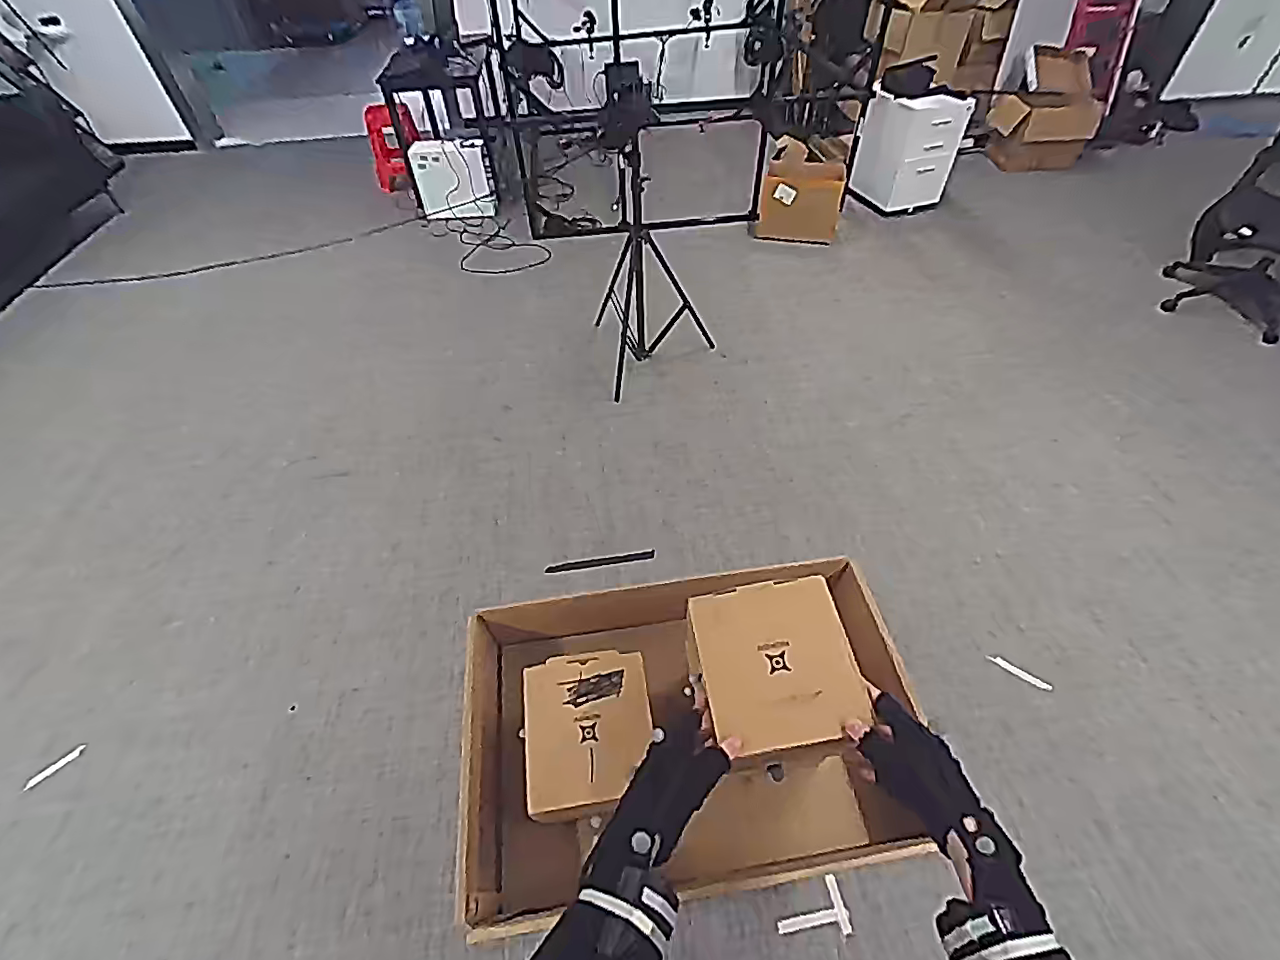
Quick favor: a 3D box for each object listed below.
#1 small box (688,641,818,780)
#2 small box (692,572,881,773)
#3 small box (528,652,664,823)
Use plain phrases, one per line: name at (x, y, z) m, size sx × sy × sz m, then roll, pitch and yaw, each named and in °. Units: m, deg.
small box at (0.170, 0.326, 0.792) m, size 0.179 × 0.176 × 0.168 m, roll -9°, pitch 54°, yaw -2°
small box at (0.158, 0.237, 0.655) m, size 0.168 × 0.176 × 0.179 m, roll -11°, pitch 56°, yaw -1°
small box at (-0.064, 0.366, 0.764) m, size 0.168 × 0.176 × 0.179 m, roll -7°, pitch 55°, yaw -6°
